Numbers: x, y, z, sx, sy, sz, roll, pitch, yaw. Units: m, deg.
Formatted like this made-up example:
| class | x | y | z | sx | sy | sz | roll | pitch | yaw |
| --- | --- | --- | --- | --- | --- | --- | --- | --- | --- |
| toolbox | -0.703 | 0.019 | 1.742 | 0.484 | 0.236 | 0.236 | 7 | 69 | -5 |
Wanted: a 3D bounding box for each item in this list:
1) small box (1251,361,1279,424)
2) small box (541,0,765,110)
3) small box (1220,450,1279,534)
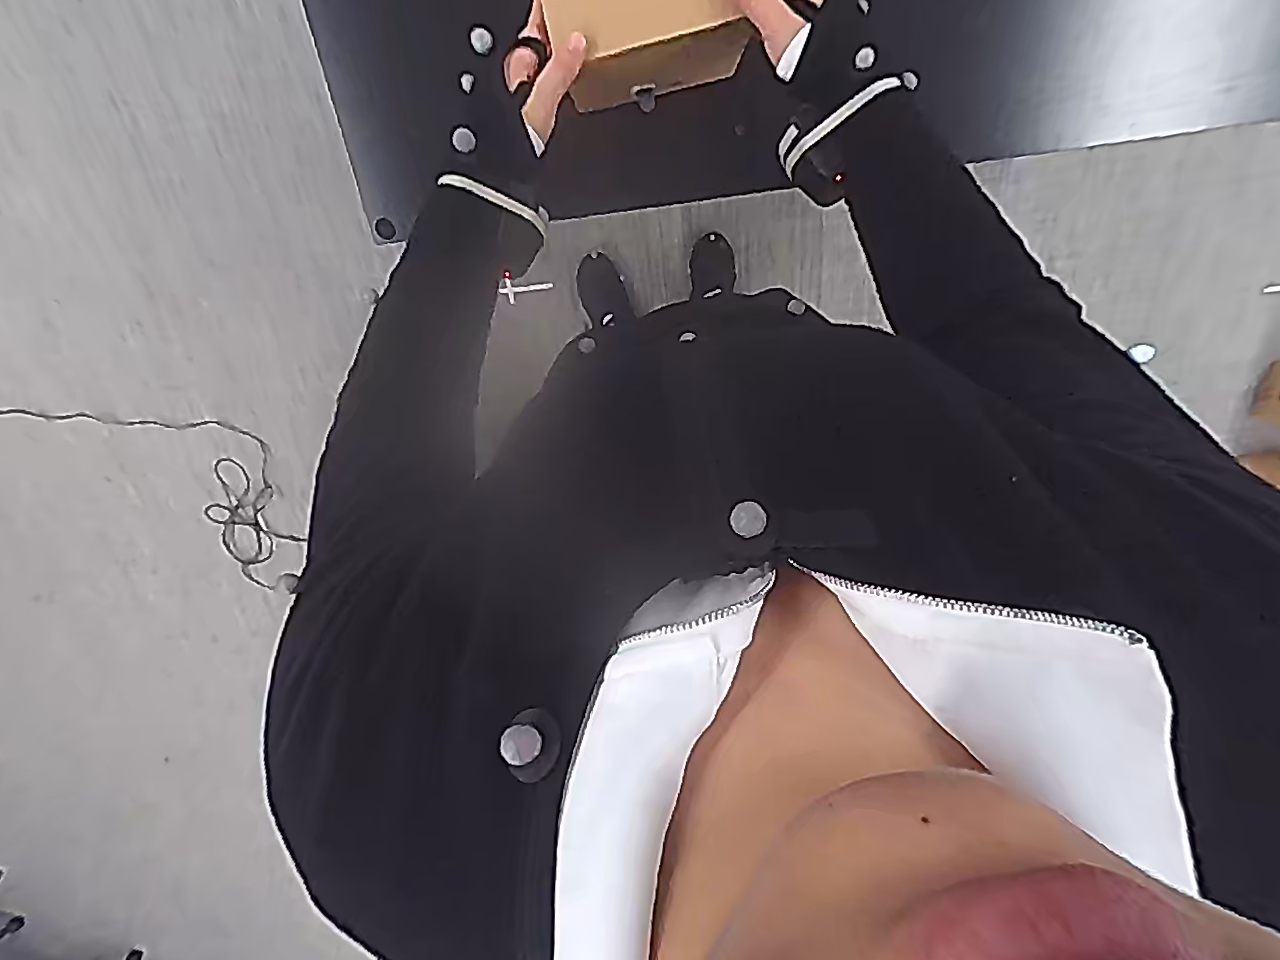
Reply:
| class | x | y | z | sx | sy | sz | roll | pitch | yaw |
| --- | --- | --- | --- | --- | --- | --- | --- | --- | --- |
| small box | 1.790 | -0.226 | 1.414 | 0.179 | 0.176 | 0.168 | -4 | 115 | 1 |
| small box | -0.002 | -0.445 | 0.450 | 0.168 | 0.176 | 0.179 | -11 | 113 | 7 |
| small box | 1.830 | 0.030 | 1.537 | 0.168 | 0.176 | 0.179 | -7 | 115 | 2 |
